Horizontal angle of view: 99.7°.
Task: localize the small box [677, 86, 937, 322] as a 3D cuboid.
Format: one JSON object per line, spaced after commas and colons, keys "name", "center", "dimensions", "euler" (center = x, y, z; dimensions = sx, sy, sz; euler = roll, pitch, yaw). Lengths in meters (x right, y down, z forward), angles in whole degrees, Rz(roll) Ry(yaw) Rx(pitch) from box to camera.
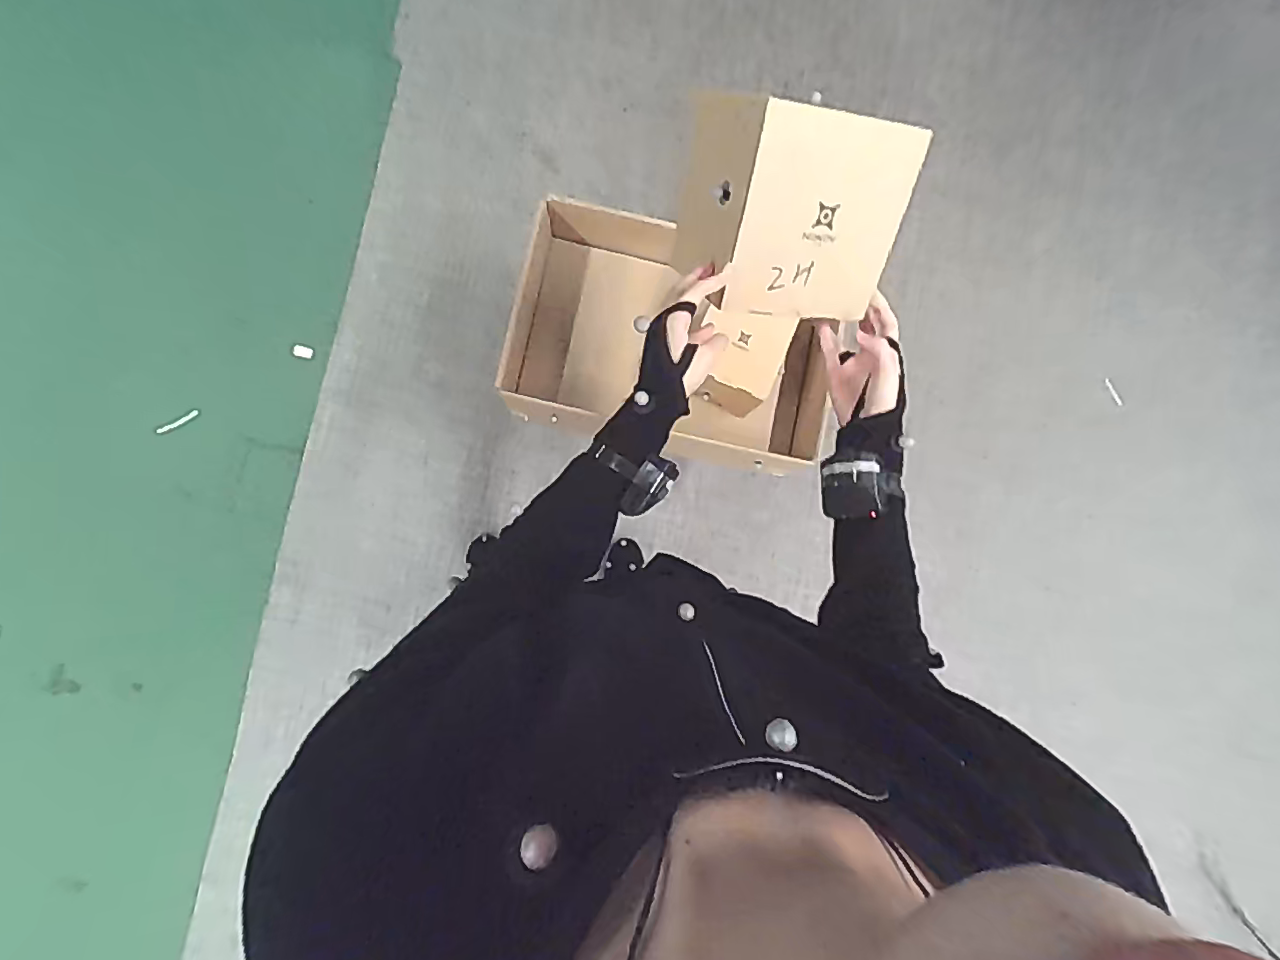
{"name": "small box", "center": [0.148, -0.281, 0.553], "dimensions": [0.168, 0.176, 0.179], "euler": [1, 126, -16]}
